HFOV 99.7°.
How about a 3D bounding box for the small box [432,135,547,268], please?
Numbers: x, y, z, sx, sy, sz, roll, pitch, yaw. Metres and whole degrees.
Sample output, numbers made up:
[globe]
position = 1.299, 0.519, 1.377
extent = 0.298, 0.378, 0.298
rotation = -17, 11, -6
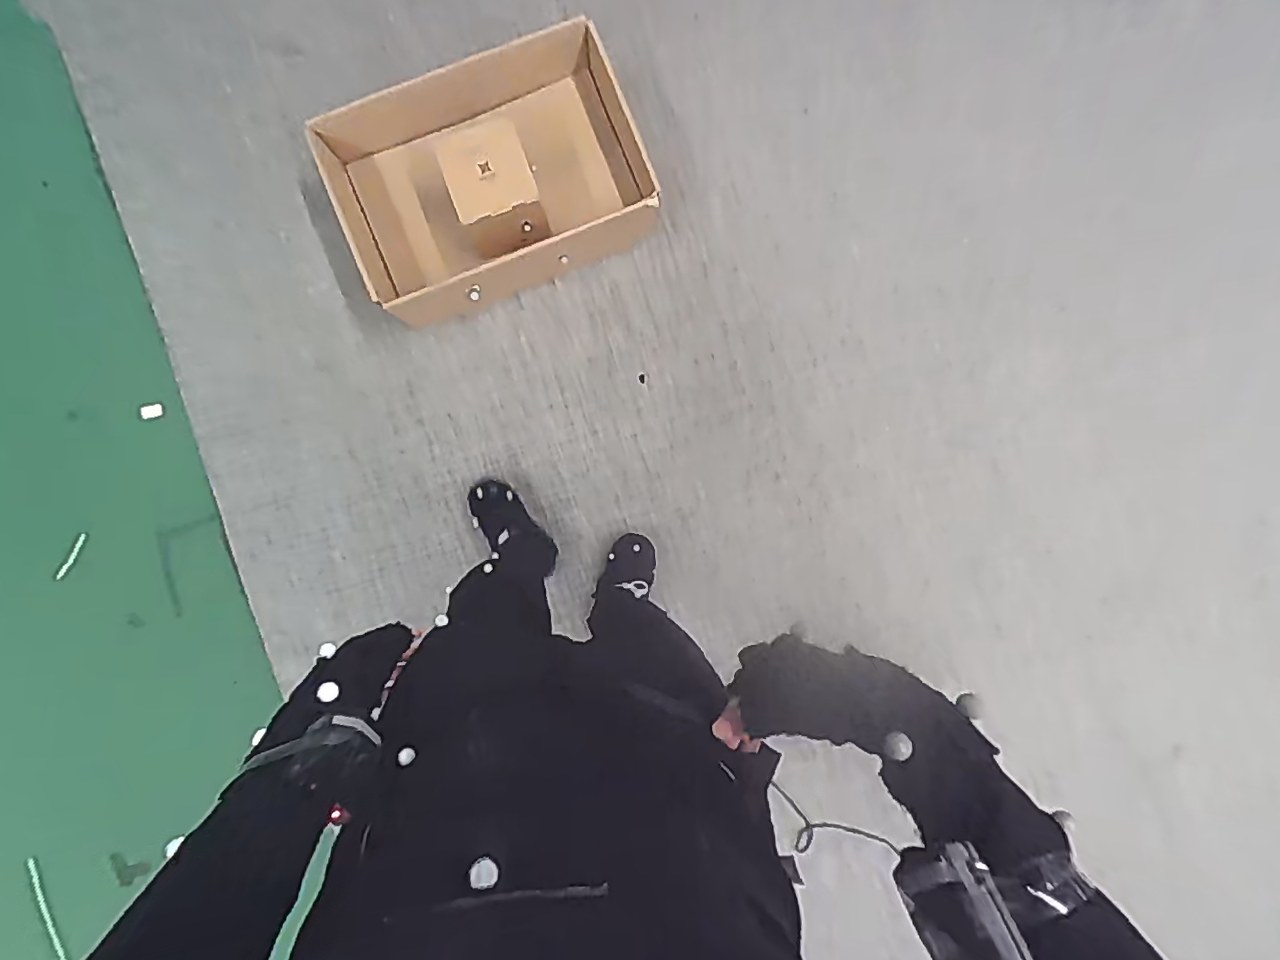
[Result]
[small box]
position = -0.307, -0.574, 1.145
extent = 0.168, 0.176, 0.179
rotation = -21, 88, -3
